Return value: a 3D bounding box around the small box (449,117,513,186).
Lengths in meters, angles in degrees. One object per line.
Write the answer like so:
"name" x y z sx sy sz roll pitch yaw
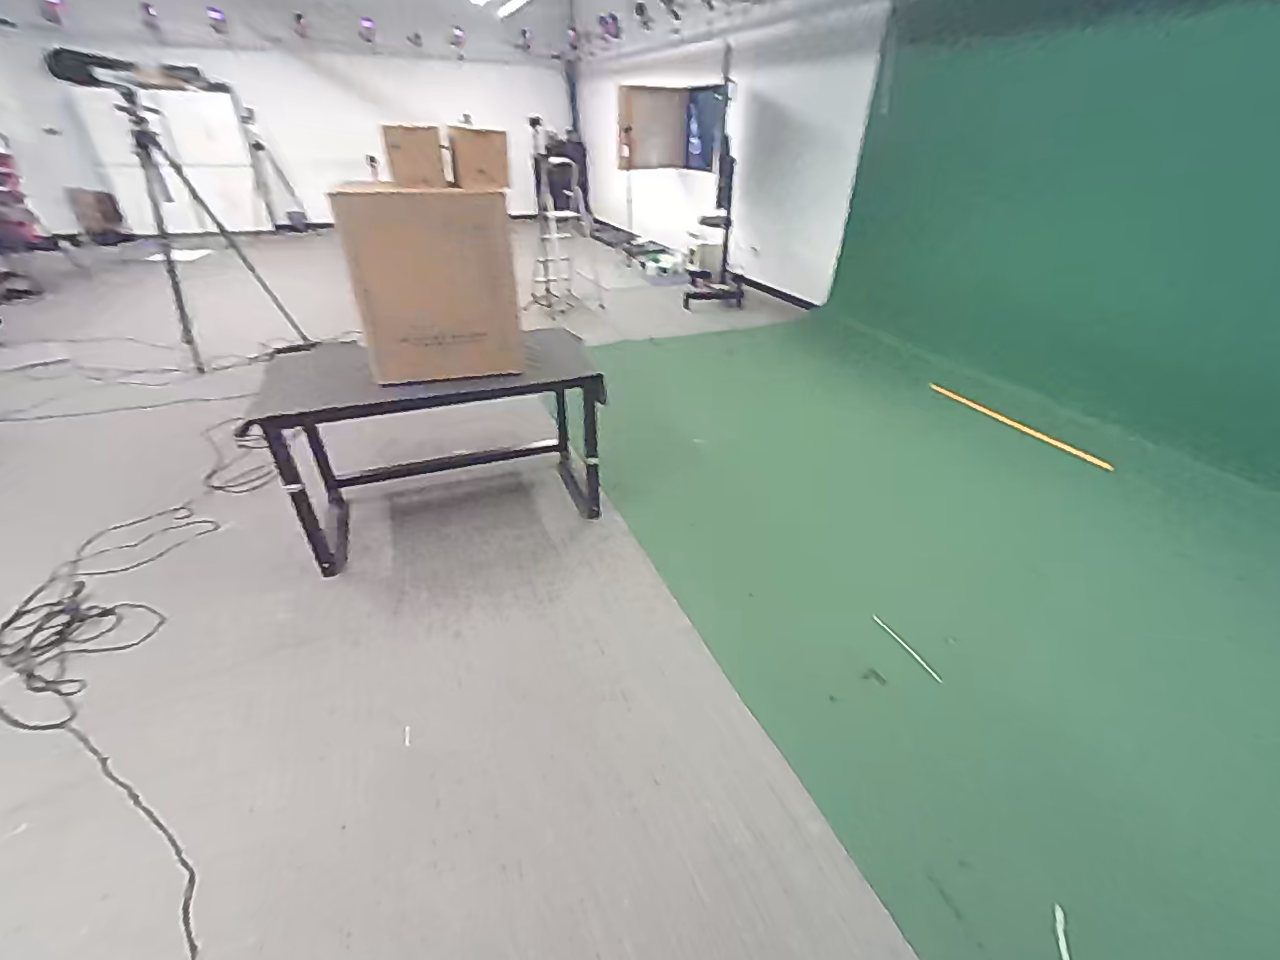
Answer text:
"small box" -0.517 -1.069 1.758 0.168 0.176 0.179 -11 39 -23
